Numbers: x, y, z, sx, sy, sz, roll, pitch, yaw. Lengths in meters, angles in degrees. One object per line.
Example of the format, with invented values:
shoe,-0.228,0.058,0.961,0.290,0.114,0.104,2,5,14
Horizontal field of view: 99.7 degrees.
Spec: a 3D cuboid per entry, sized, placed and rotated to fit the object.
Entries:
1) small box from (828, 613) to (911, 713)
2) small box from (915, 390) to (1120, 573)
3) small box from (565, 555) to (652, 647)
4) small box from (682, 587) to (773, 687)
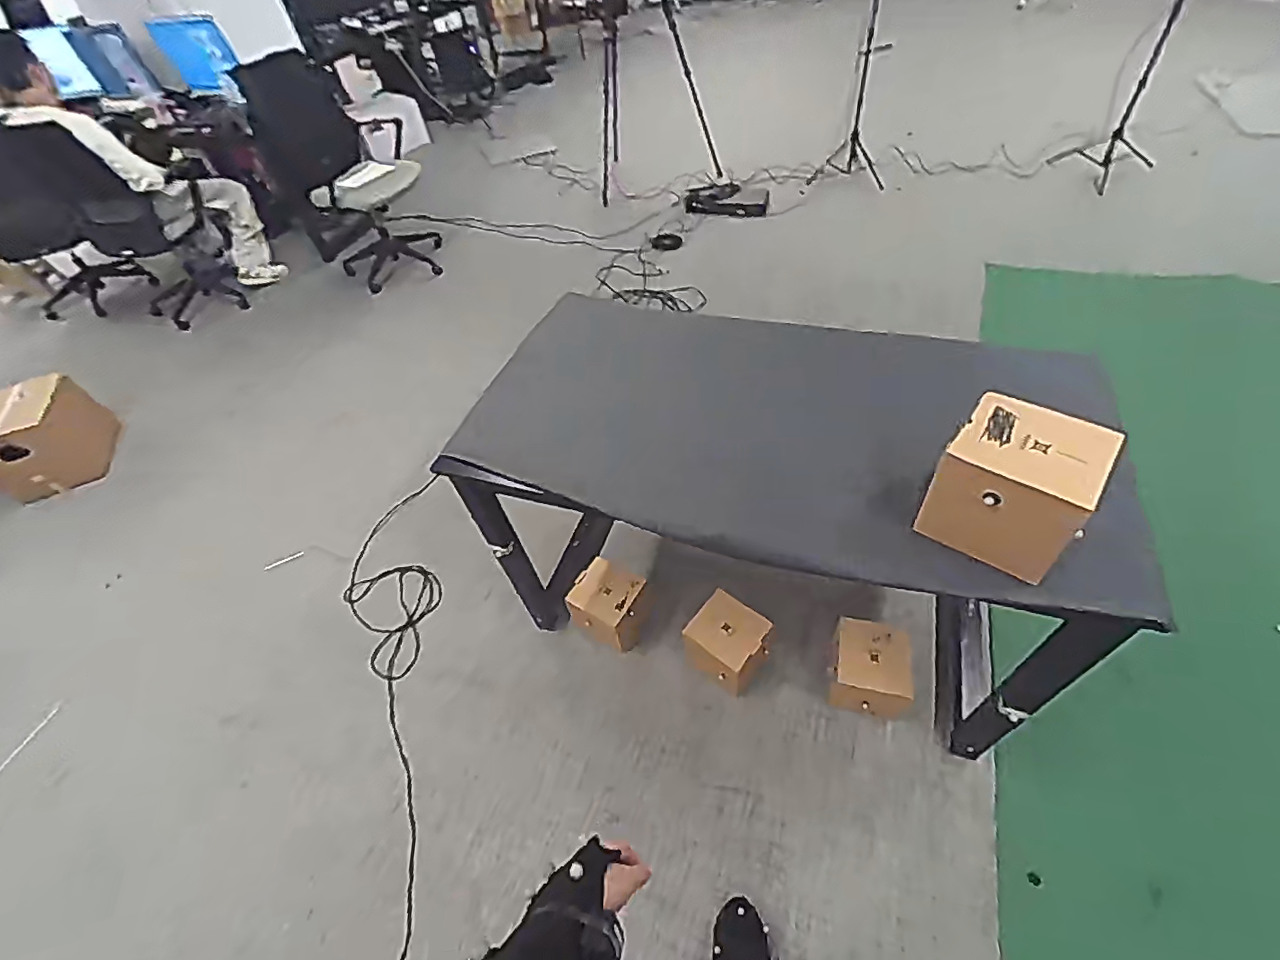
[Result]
small box,0.570,0.461,1.354,0.168,0.176,0.179,7,51,15
small box,0.529,0.003,0.781,0.179,0.176,0.168,29,58,31
small box,-0.084,0.352,1.560,0.179,0.176,0.168,21,56,26
small box,0.234,0.425,1.443,0.179,0.176,0.168,28,59,31
